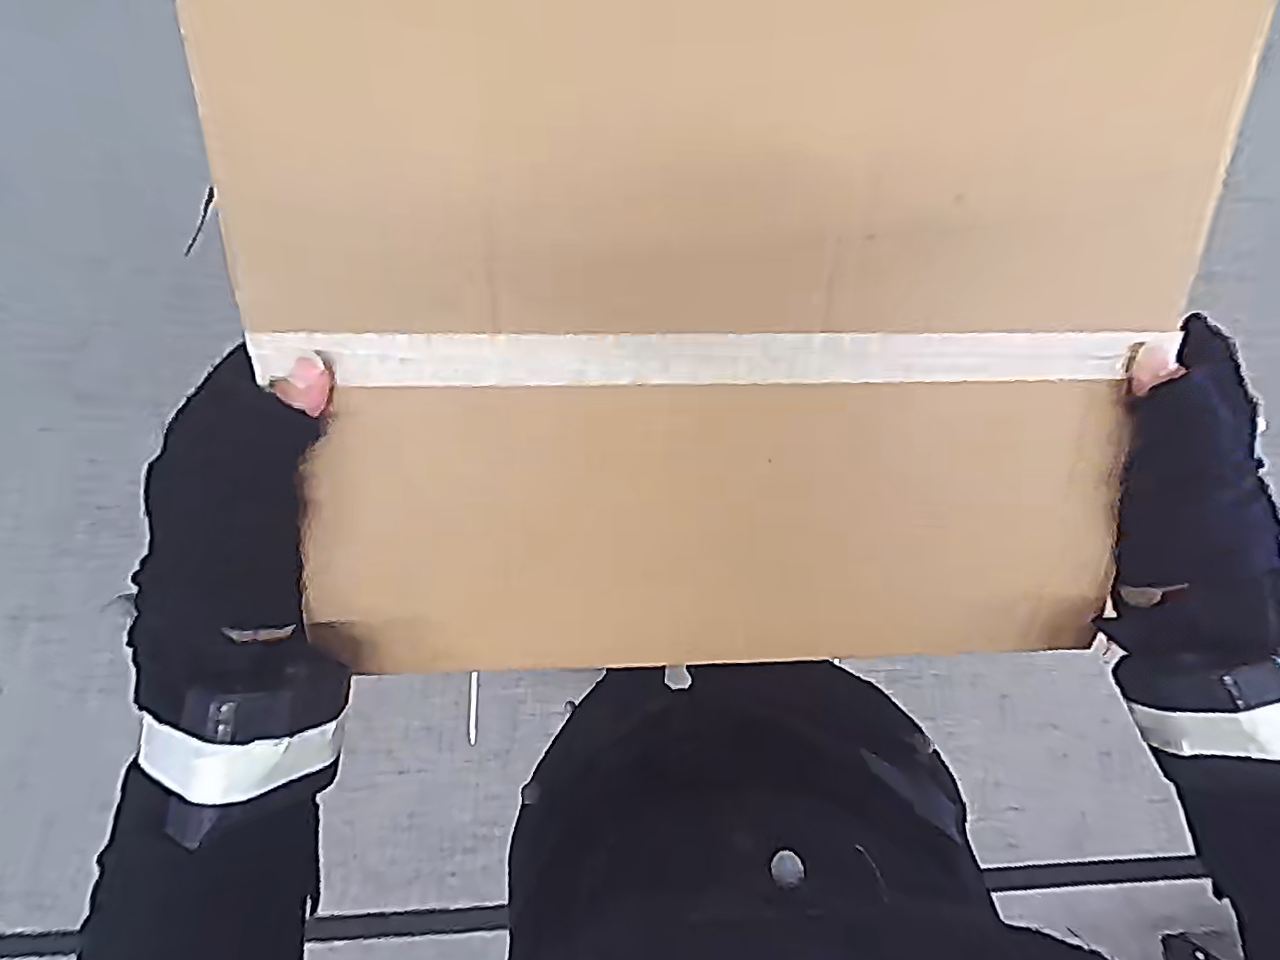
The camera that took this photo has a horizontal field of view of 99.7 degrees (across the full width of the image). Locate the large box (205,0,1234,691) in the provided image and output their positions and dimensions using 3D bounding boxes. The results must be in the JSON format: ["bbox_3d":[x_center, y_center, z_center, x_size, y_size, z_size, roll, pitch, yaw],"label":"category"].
[{"bbox_3d":[0.033,-0.086,0.390,0.408,0.320,0.320,-1,107,-4],"label":"large box"}]
